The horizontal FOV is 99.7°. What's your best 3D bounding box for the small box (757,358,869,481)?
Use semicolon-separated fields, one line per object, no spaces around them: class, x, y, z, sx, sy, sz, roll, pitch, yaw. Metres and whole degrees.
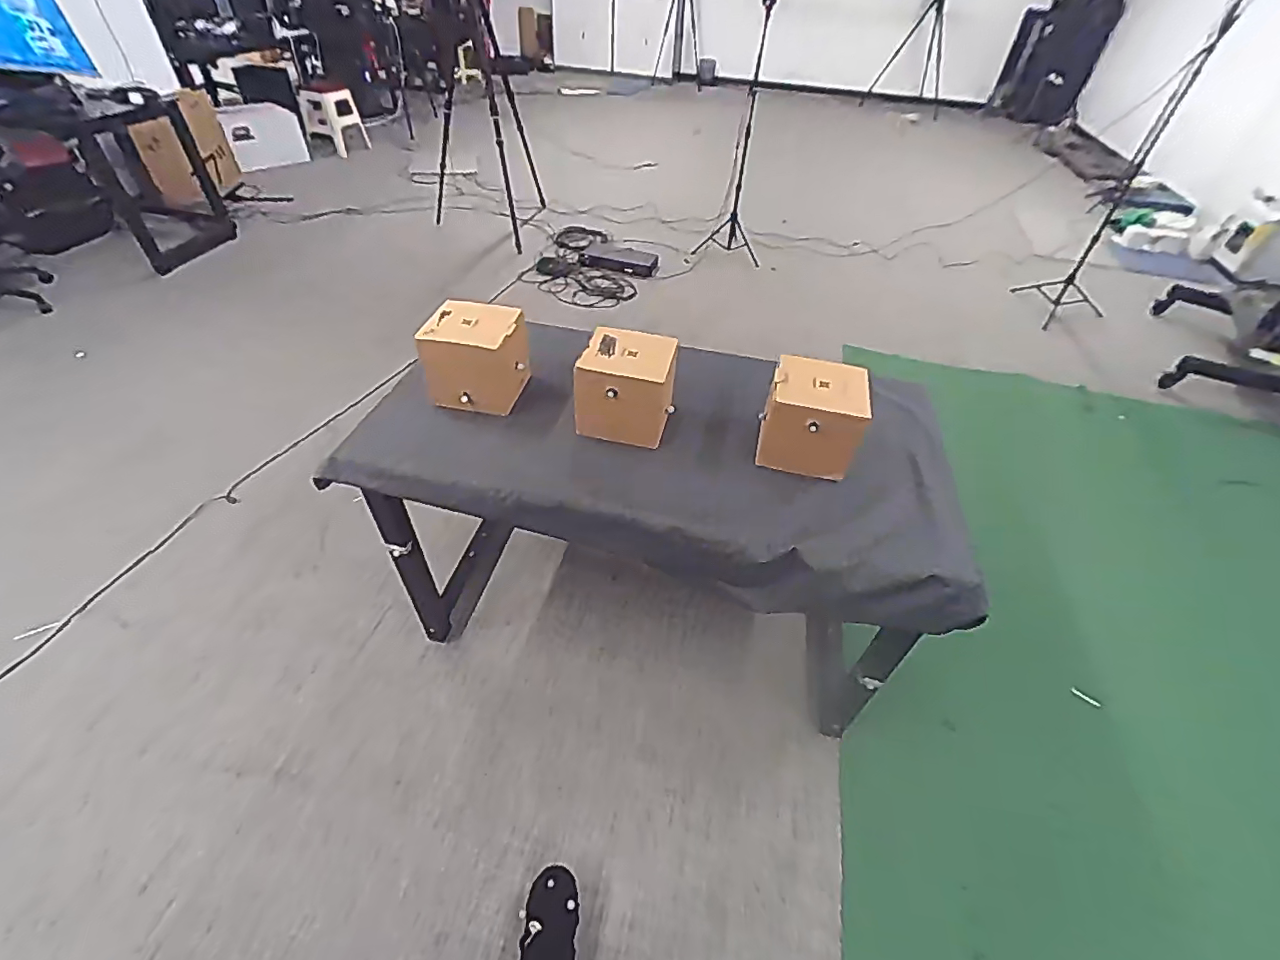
small box;0.341;-0.119;1.088;0.179;0.176;0.168;12;46;7

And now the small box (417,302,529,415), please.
small box;-0.348;-0.260;1.173;0.179;0.176;0.168;10;45;4

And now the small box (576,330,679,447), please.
small box;-0.025;-0.189;1.126;0.179;0.176;0.168;11;45;6
